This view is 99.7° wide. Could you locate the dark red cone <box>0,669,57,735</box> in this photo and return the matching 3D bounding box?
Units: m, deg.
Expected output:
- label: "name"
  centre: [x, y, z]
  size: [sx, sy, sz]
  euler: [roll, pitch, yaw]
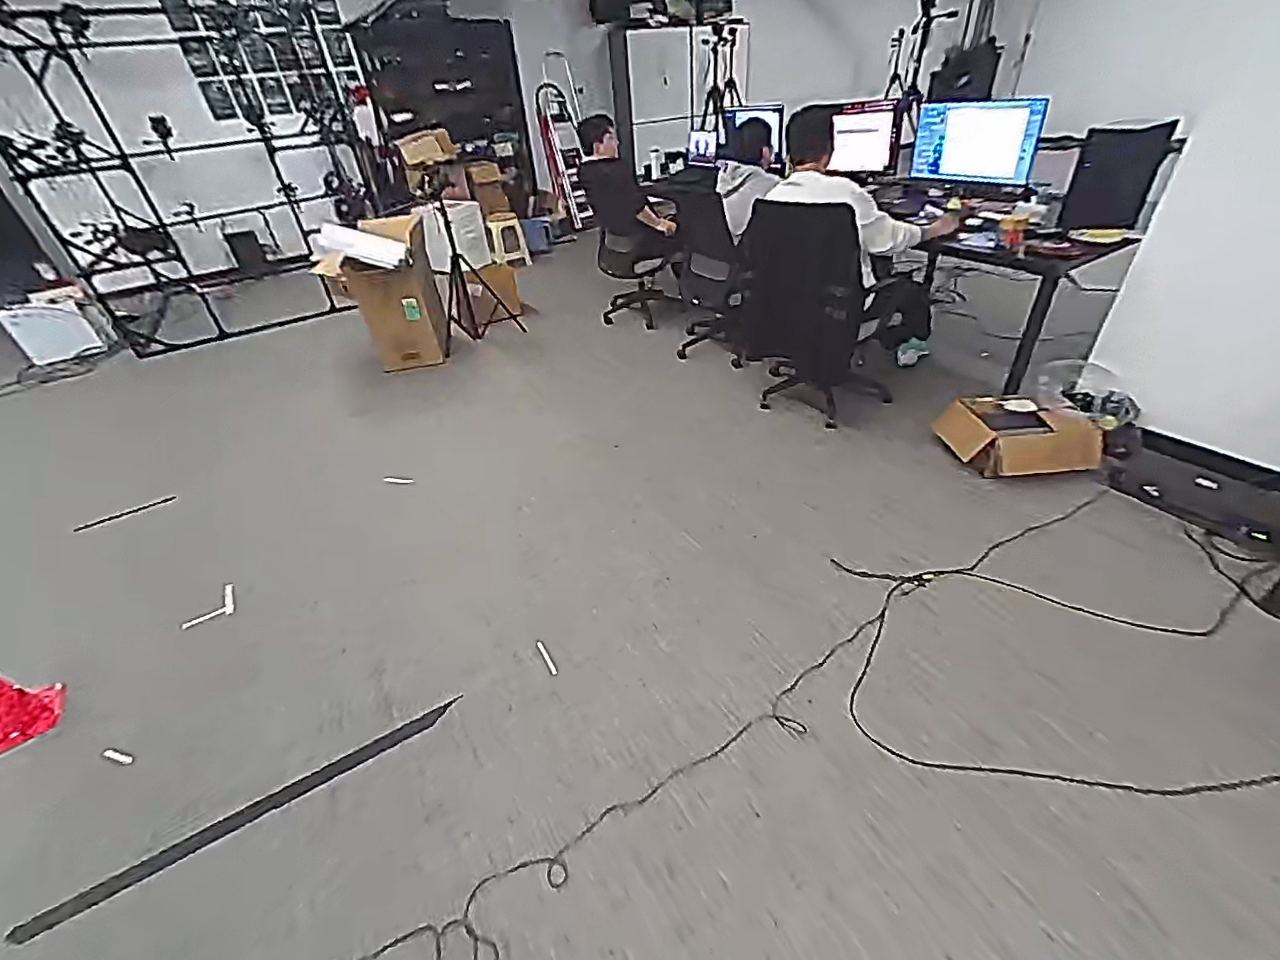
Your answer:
- label: "dark red cone"
  centre: [-1.894, 0.553, 1.520]
  size: [0.202, 0.394, 0.201]
  euler: [-28, 43, -27]
